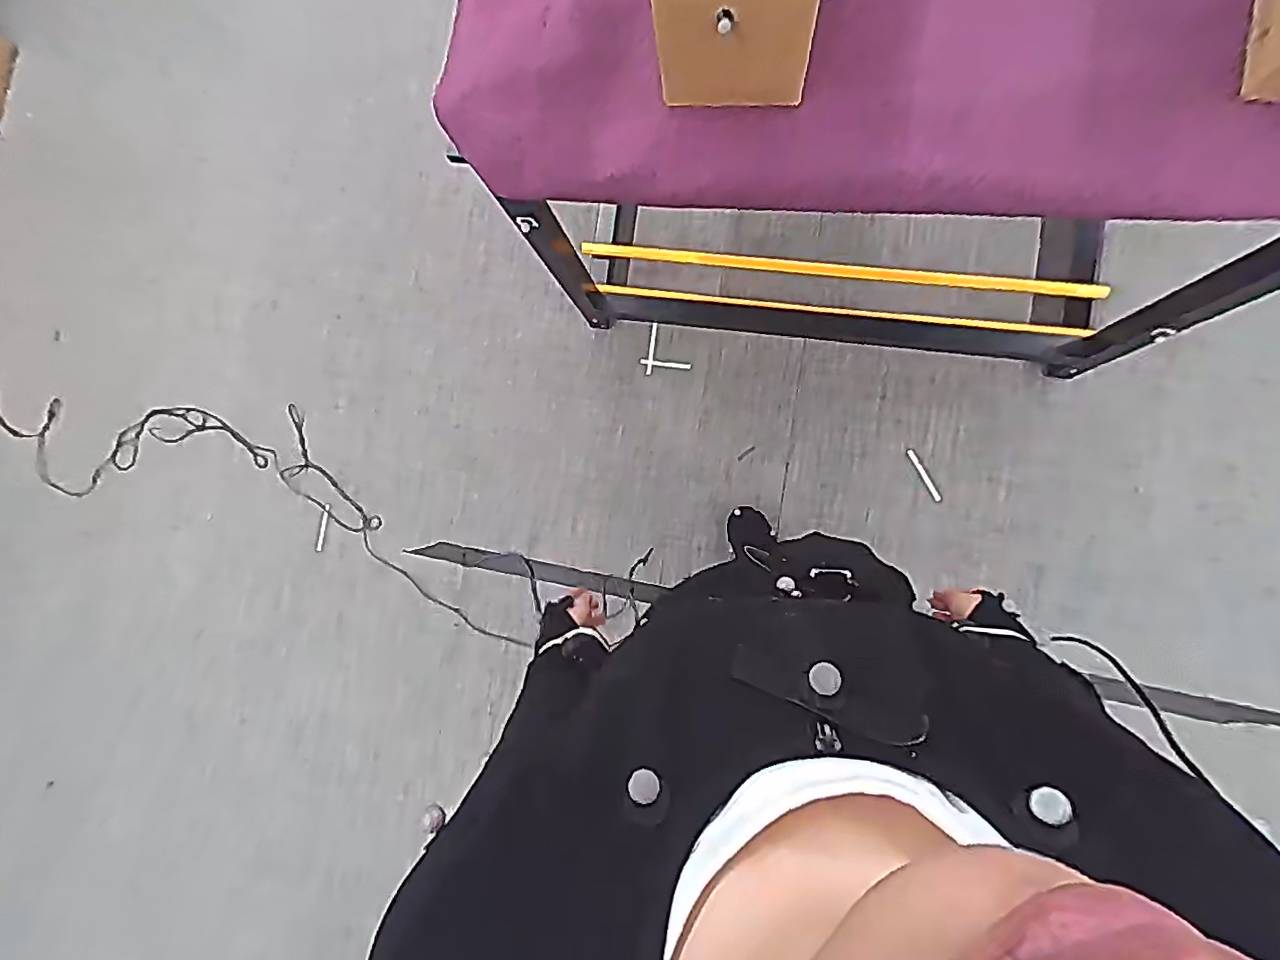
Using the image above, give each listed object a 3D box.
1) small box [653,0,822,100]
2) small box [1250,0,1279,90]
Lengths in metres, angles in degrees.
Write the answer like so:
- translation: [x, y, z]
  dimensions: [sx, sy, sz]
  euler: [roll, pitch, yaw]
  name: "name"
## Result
- translation: [0.118, -0.571, 0.617]
  dimensions: [0.179, 0.176, 0.168]
  euler: [7, 87, 10]
  name: "small box"
- translation: [0.750, -0.495, 0.505]
  dimensions: [0.179, 0.176, 0.168]
  euler: [11, 87, 10]
  name: "small box"
